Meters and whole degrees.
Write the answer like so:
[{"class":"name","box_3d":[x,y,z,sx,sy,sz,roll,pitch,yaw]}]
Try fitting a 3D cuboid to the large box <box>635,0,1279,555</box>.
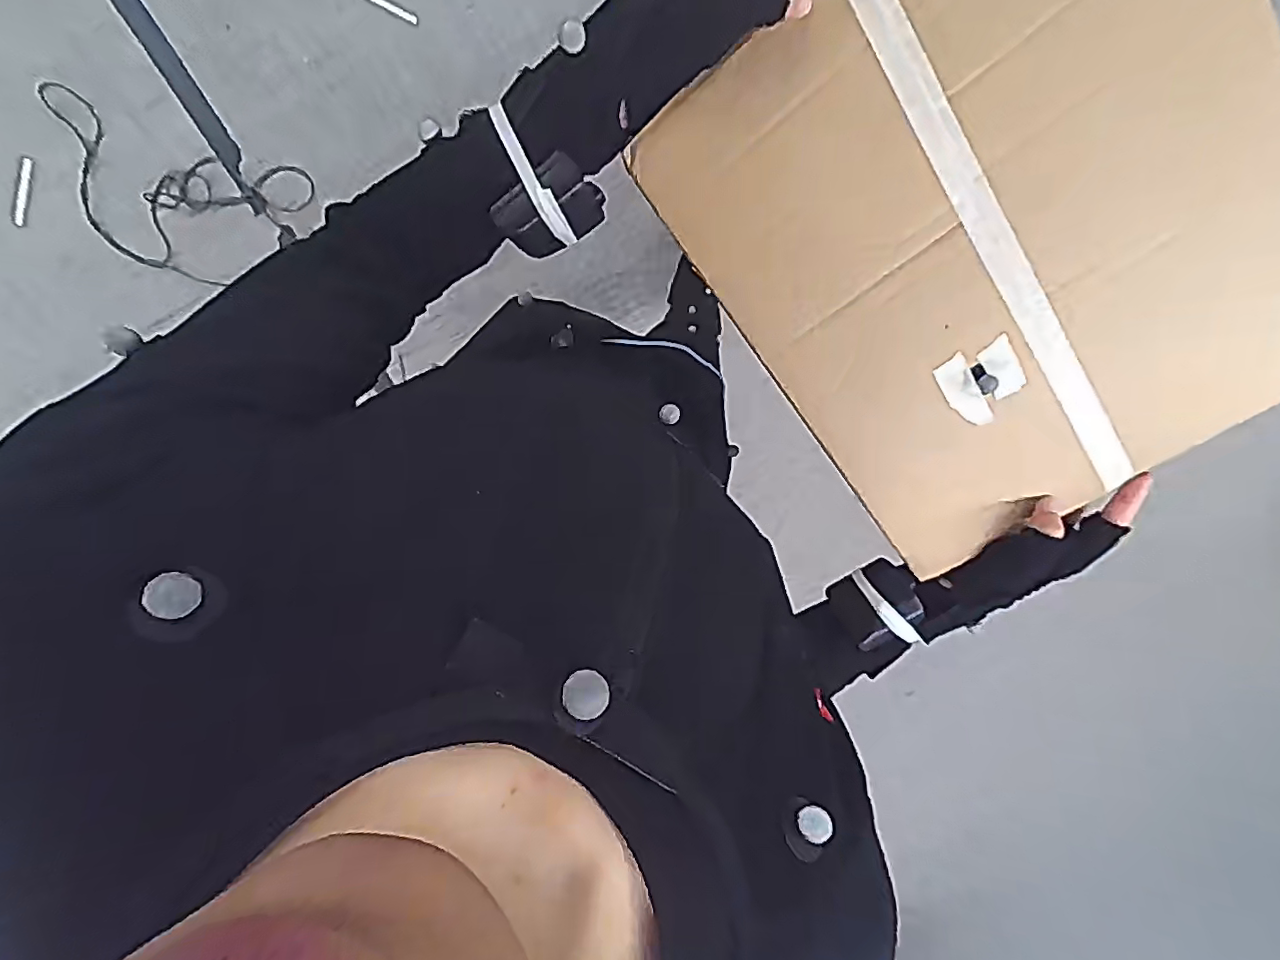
[{"class":"large box","box_3d":[0.244,-0.221,0.494,0.320,0.320,0.408,-34,109,20]}]
